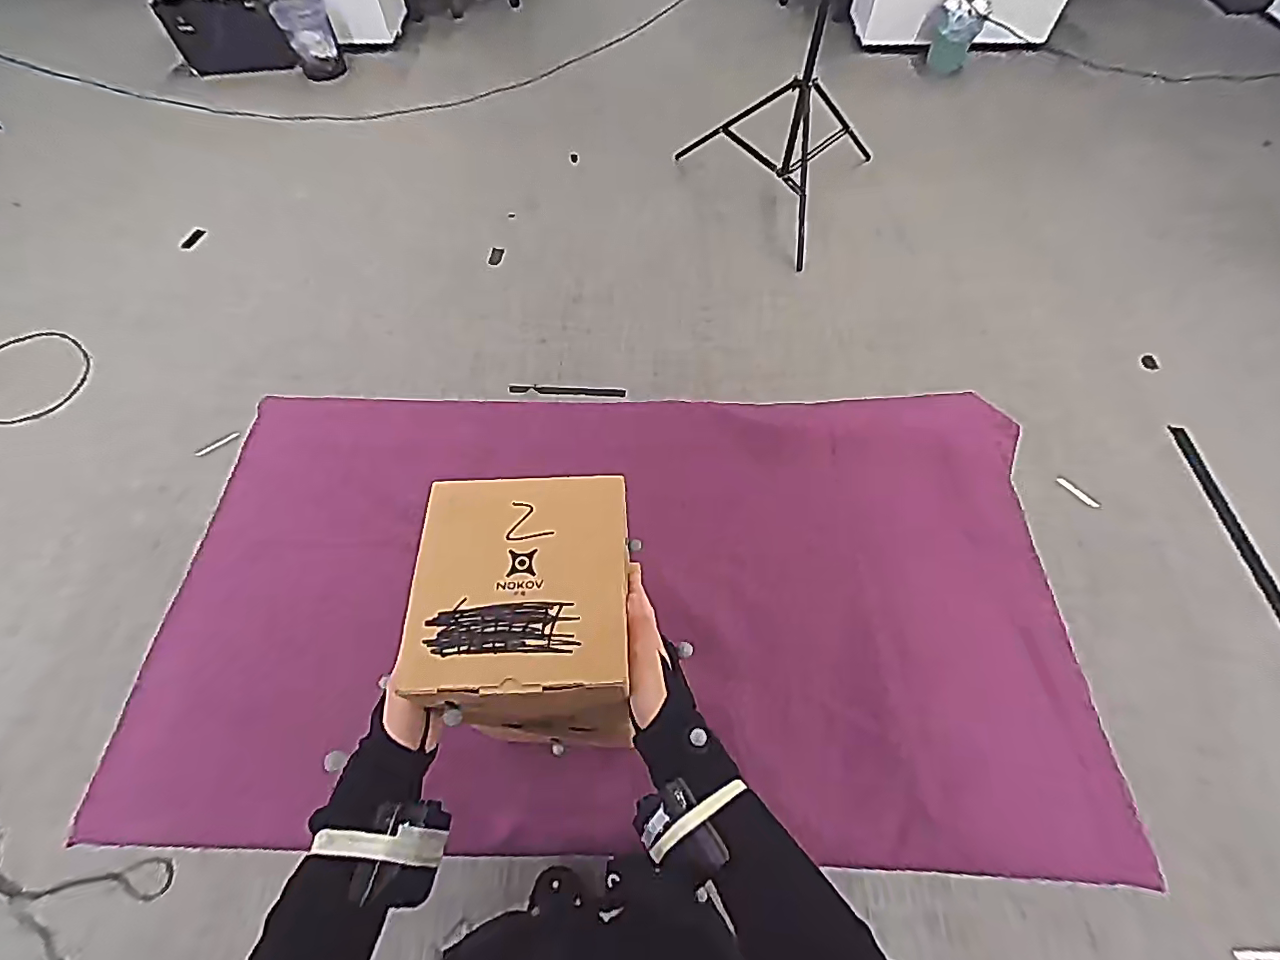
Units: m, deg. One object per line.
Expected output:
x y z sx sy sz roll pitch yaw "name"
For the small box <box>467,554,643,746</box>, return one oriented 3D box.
-0.083 0.204 0.634 0.168 0.176 0.179 2 59 2 "small box"
